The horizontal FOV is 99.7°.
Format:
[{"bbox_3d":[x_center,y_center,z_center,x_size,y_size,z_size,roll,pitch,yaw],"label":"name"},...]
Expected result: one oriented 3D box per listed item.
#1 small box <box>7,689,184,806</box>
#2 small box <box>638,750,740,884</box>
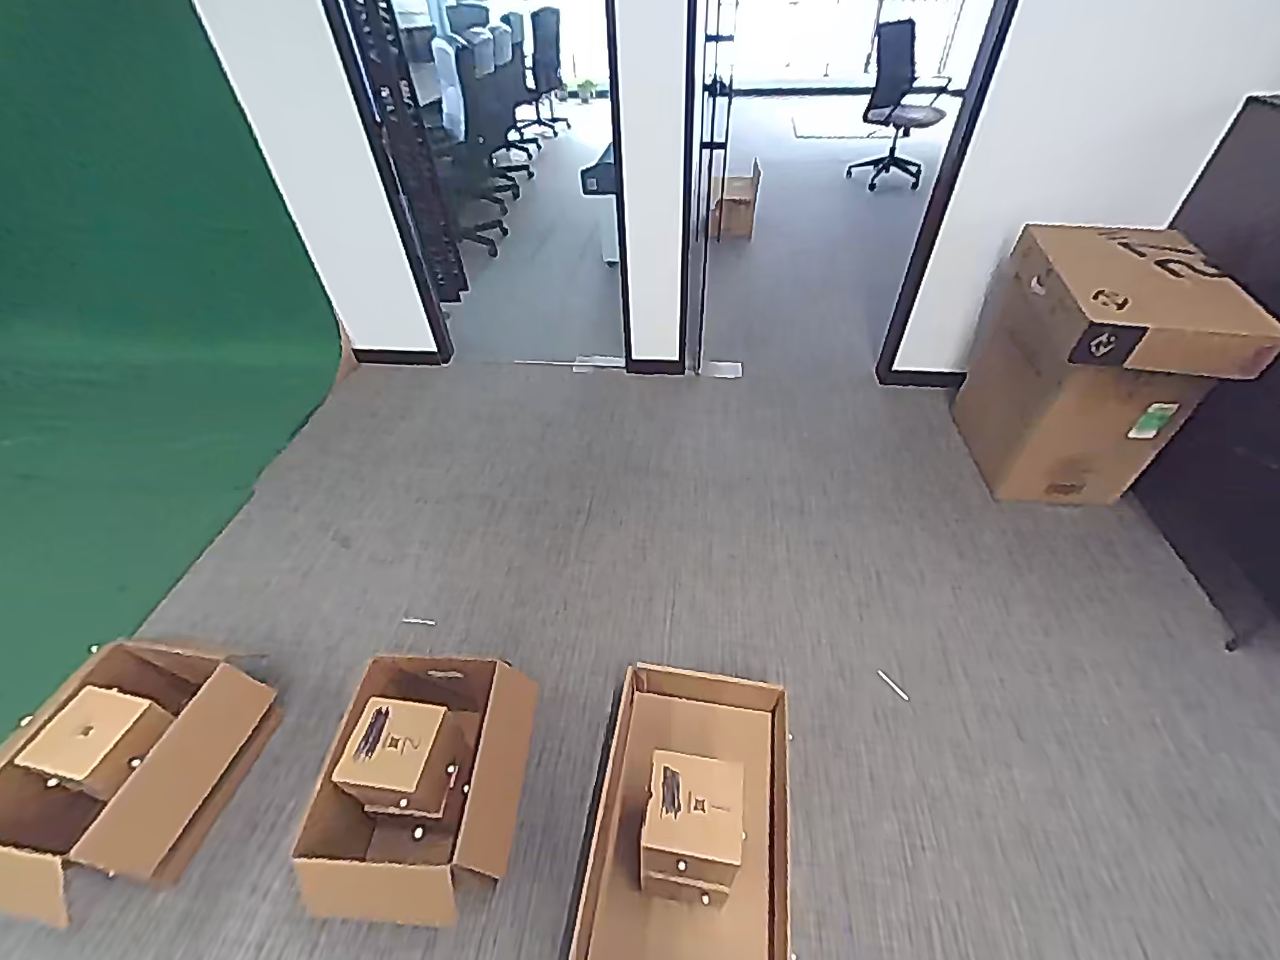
[{"bbox_3d":[-1.167,0.586,1.179,0.179,0.176,0.168,8,44,8],"label":"small box"},{"bbox_3d":[0.093,0.650,1.041,0.179,0.176,0.168,7,43,6],"label":"small box"}]
